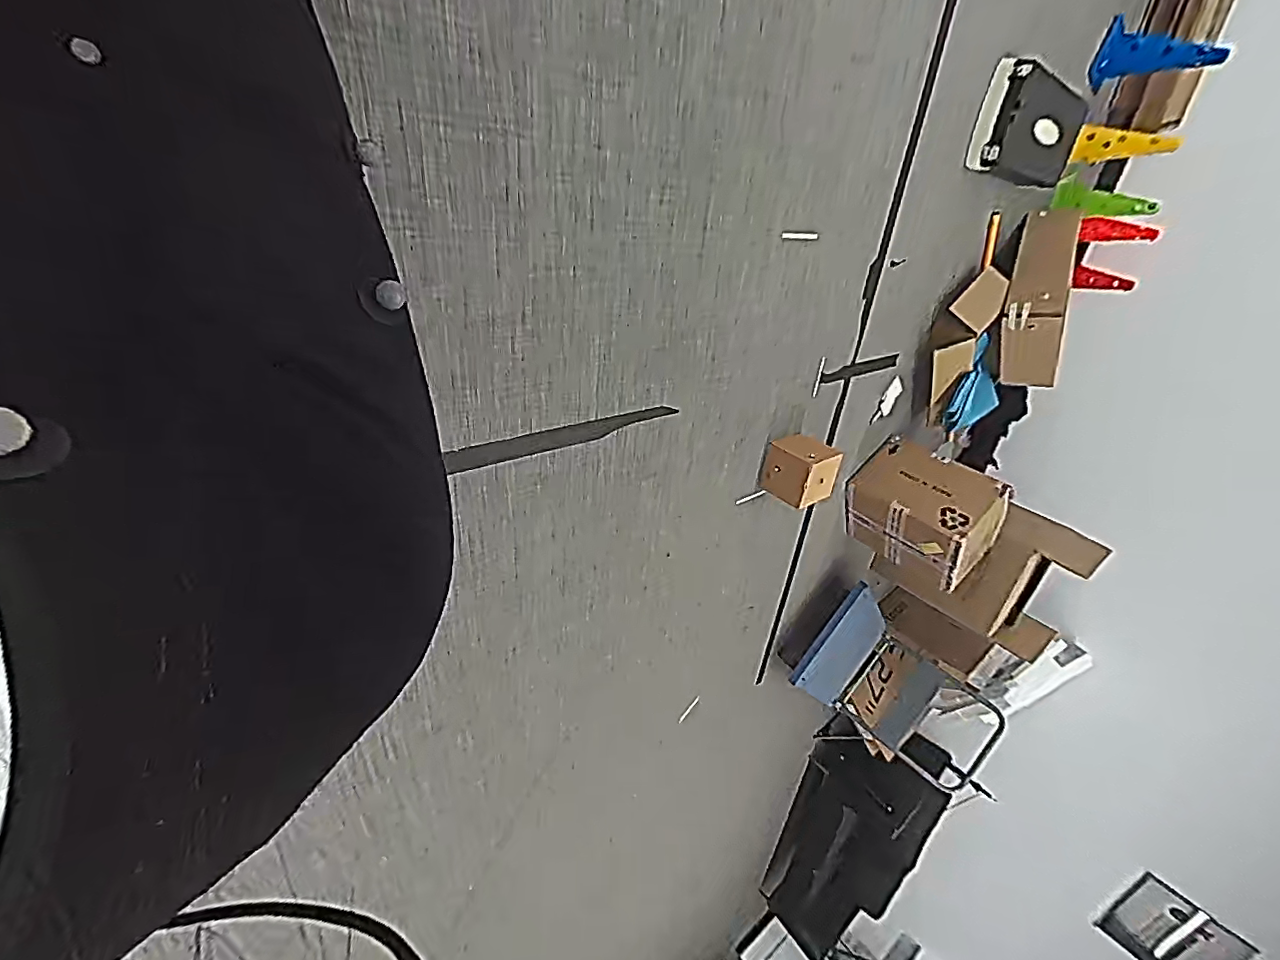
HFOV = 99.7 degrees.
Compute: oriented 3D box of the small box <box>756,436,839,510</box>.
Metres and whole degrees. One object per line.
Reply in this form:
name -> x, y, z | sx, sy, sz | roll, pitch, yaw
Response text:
small box -> 0.510, -0.031, 1.766 | 0.179, 0.176, 0.168 | -18, 128, -36
